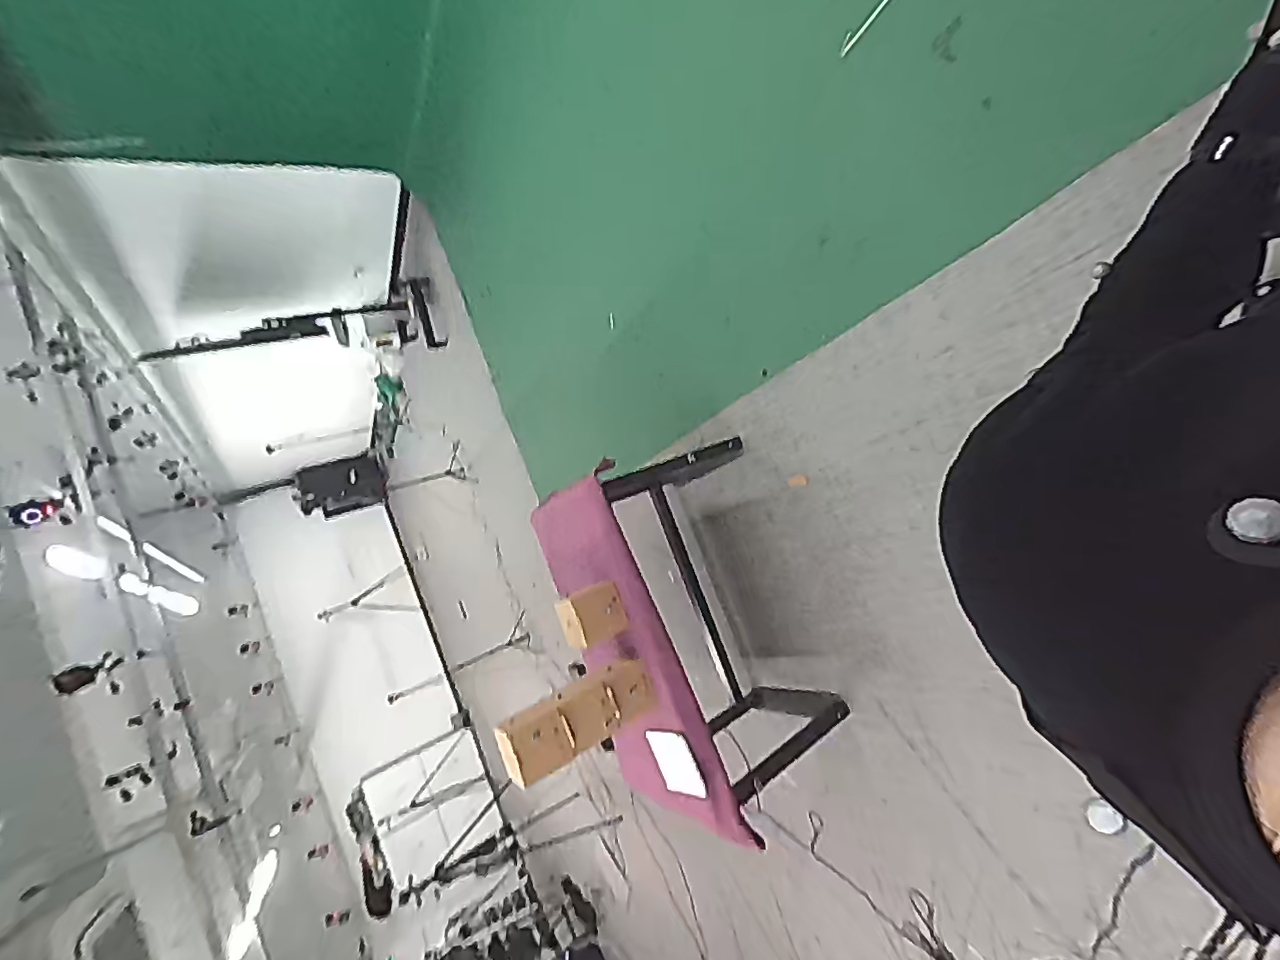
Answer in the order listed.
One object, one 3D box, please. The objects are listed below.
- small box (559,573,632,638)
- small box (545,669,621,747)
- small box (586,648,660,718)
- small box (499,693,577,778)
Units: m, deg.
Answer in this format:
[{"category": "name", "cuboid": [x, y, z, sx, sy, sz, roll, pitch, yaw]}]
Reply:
[{"category": "small box", "cuboid": [-0.152, 0.430, 1.856, 0.179, 0.176, 0.168, -27, 84, 59]}, {"category": "small box", "cuboid": [-0.181, 0.730, 1.753, 0.179, 0.176, 0.168, -27, 83, 59]}, {"category": "small box", "cuboid": [-0.052, 0.686, 1.845, 0.179, 0.176, 0.168, -27, 83, 57]}, {"category": "small box", "cuboid": [-0.310, 0.775, 1.663, 0.179, 0.176, 0.168, -25, 84, 59]}]
